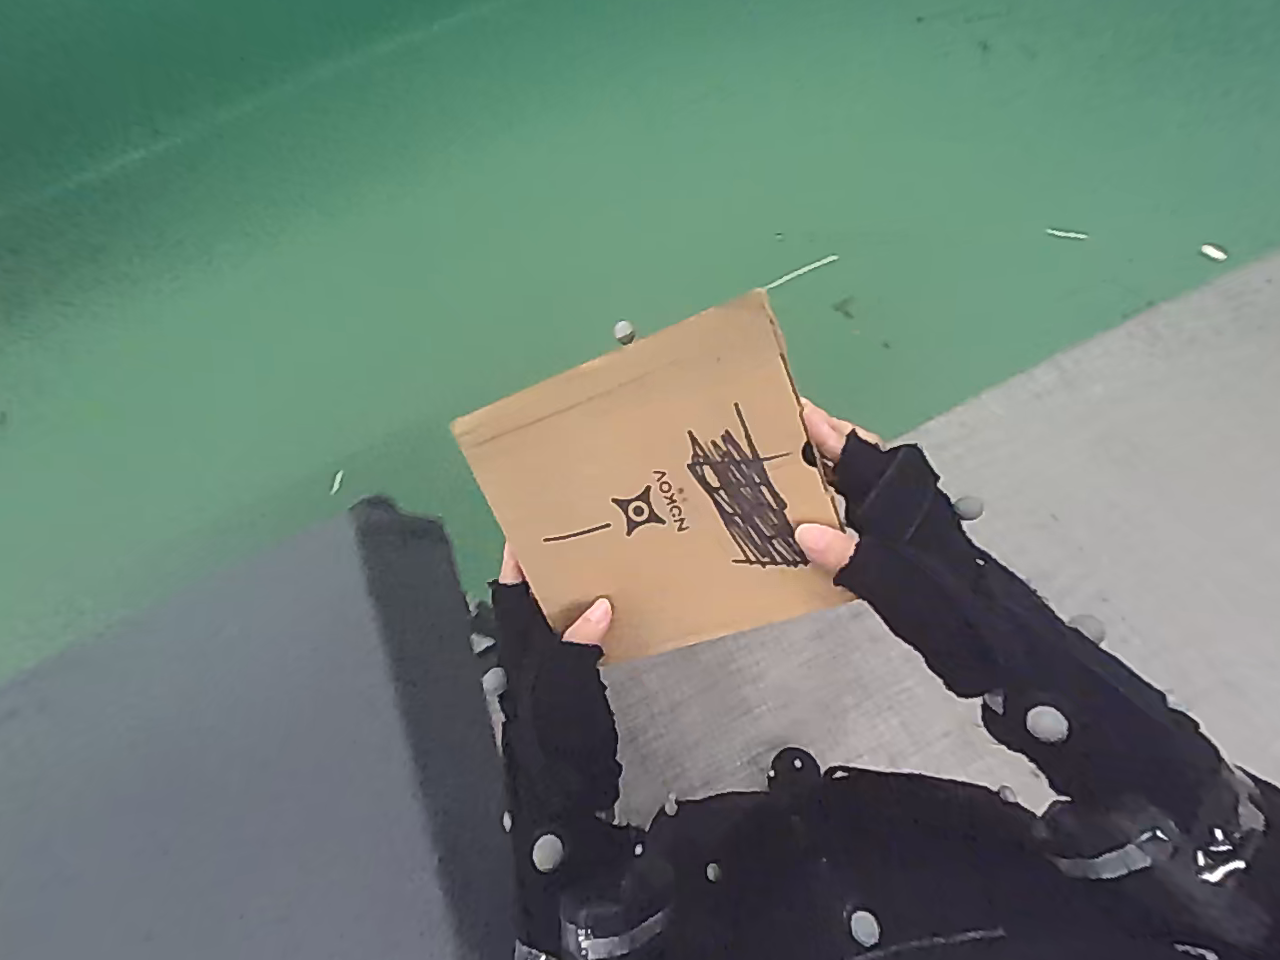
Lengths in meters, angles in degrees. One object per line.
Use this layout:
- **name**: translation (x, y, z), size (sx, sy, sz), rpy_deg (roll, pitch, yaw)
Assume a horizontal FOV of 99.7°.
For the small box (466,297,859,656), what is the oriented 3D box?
- **small box**: translation (0.024, -0.013, 0.362), size (0.179, 0.176, 0.168), rpy_deg (-16, 102, 16)
